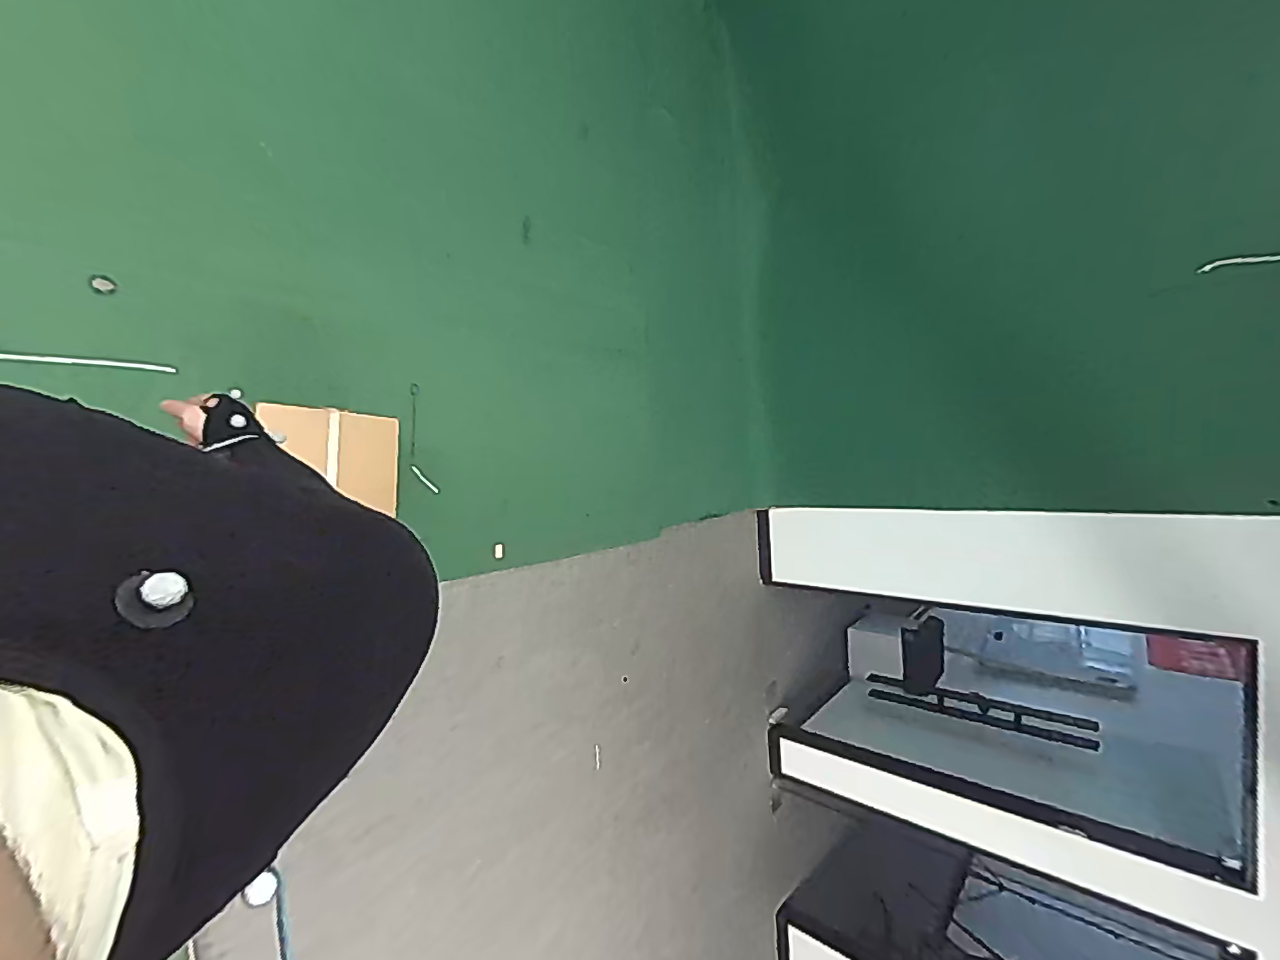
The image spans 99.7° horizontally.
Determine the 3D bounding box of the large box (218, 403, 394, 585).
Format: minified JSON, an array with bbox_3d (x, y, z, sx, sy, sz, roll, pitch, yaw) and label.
[{"bbox_3d":[-0.849,0.031,1.375,0.320,0.320,0.408,2,88,-48],"label":"large box"}]
